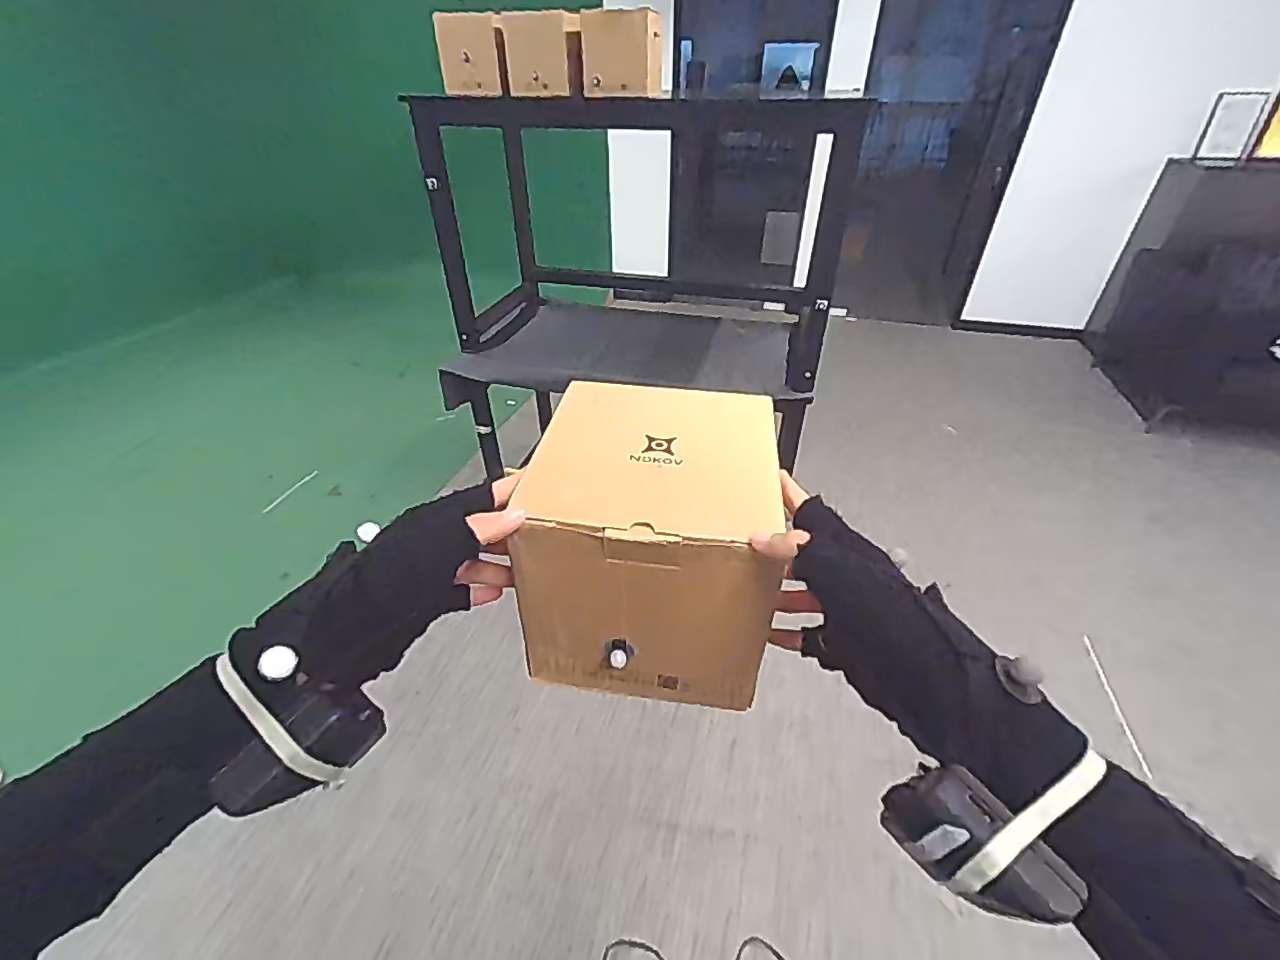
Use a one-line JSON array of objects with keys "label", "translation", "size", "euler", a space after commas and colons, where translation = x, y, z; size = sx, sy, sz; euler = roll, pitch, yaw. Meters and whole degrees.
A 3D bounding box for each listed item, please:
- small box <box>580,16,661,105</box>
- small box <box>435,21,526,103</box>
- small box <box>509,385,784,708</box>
[{"label": "small box", "translation": [-0.042, -1.052, 1.364], "size": [0.168, 0.176, 0.179], "euler": [8, 37, 11]}, {"label": "small box", "translation": [-0.420, -1.125, 1.463], "size": [0.168, 0.176, 0.179], "euler": [10, 38, 11]}, {"label": "small box", "translation": [0.010, 0.045, 0.424], "size": [0.168, 0.176, 0.179], "euler": [5, 37, 5]}]
